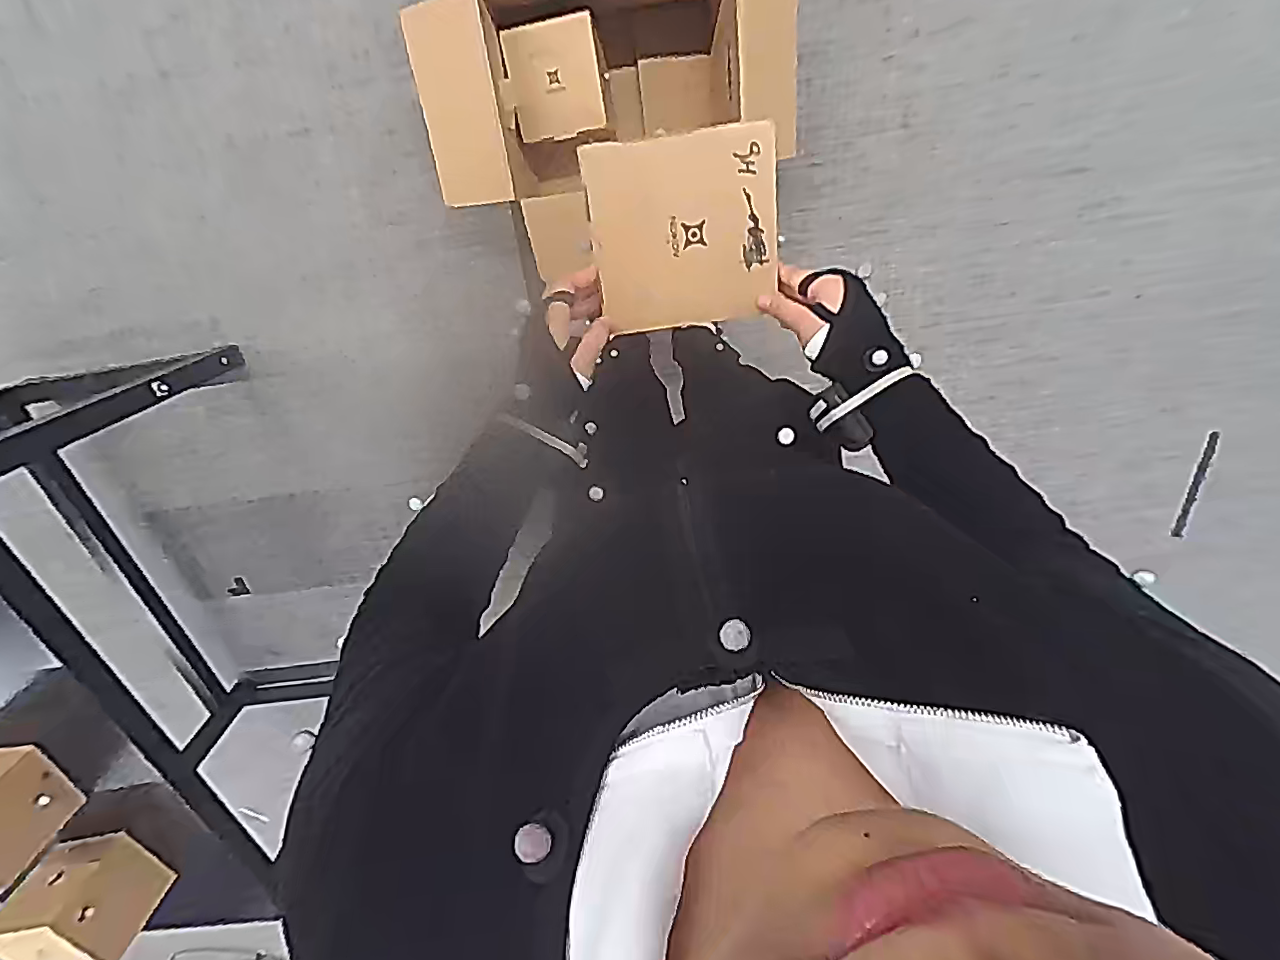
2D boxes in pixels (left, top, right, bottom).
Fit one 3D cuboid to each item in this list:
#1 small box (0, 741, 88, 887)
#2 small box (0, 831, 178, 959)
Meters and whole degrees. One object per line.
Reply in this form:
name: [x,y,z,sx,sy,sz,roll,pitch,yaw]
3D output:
small box: [-1.171,0.592,0.961,0.179,0.176,0.168,-6,119,2]
small box: [-1.114,0.841,1.097,0.168,0.176,0.179,-13,118,7]
